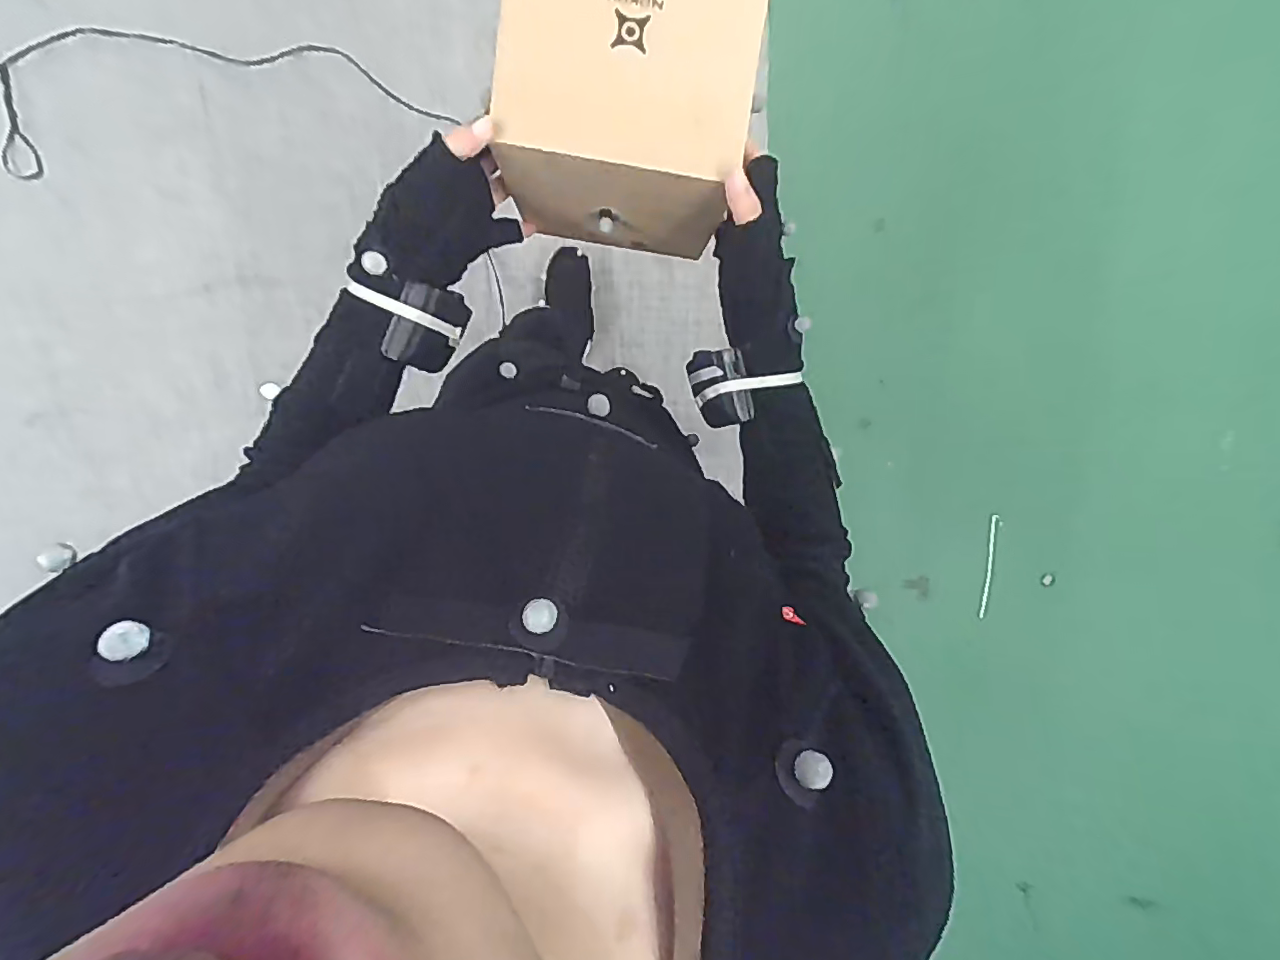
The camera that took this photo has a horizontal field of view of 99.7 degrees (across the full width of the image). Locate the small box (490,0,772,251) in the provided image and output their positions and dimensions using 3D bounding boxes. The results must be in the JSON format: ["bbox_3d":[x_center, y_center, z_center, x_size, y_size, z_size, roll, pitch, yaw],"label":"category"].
[{"bbox_3d":[-0.005,-0.295,0.413,0.168,0.176,0.179,8,95,-4],"label":"small box"}]
